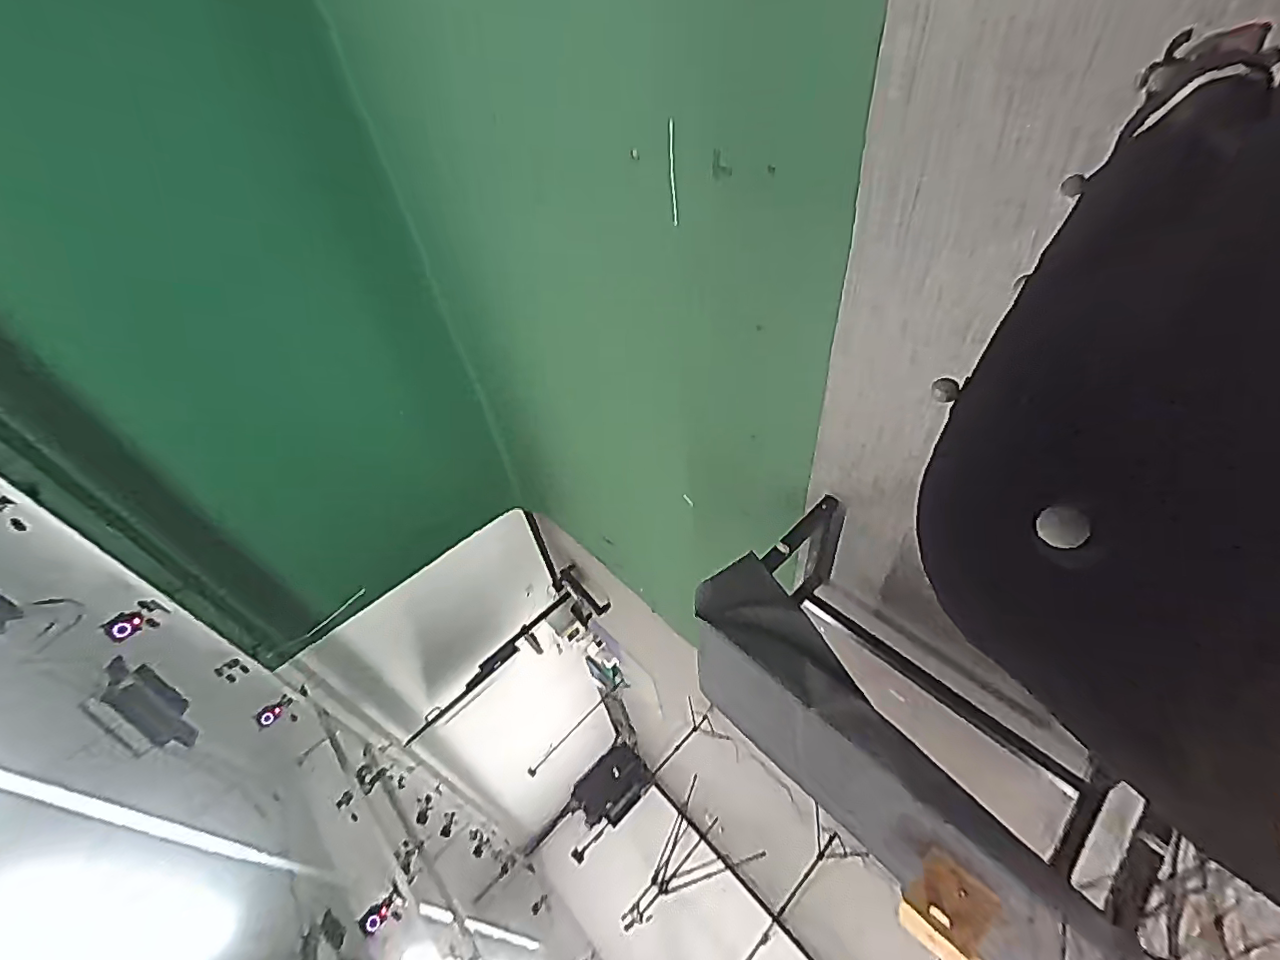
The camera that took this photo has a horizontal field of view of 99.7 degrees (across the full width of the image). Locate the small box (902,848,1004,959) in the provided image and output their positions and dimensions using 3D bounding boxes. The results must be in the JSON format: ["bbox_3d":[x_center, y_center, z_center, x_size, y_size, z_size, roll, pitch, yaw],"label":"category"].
[{"bbox_3d":[0.789,1.088,1.368,0.168,0.176,0.179,28,145,44],"label":"small box"}]
